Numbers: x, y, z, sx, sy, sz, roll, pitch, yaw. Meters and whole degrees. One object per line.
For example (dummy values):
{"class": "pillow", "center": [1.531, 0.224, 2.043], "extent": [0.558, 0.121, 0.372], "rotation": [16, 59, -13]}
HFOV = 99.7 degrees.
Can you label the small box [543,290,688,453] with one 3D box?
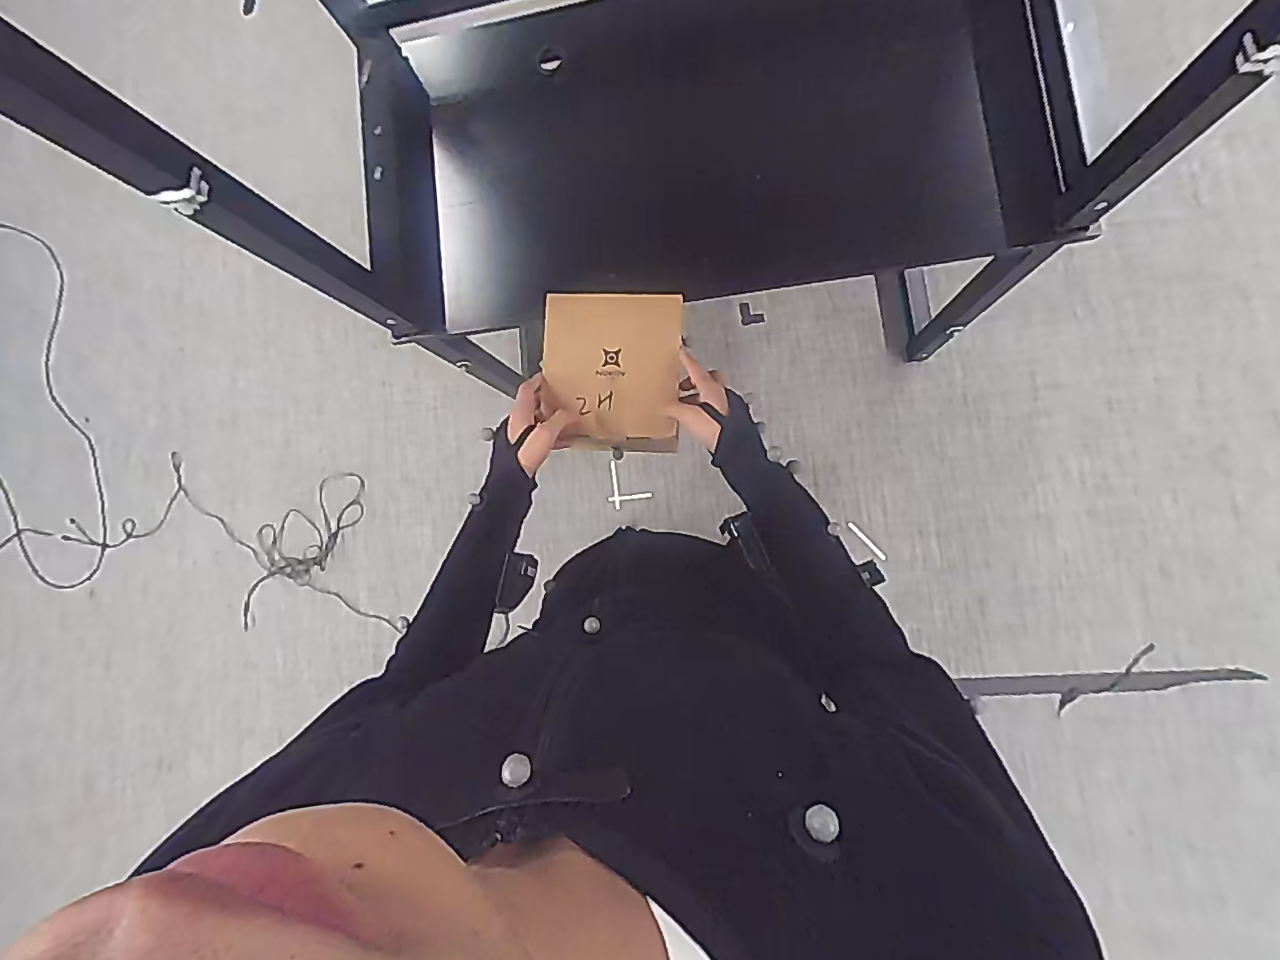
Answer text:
{"class": "small box", "center": [-0.024, -0.134, 0.718], "extent": [0.168, 0.176, 0.179], "rotation": [3, 88, 5]}
